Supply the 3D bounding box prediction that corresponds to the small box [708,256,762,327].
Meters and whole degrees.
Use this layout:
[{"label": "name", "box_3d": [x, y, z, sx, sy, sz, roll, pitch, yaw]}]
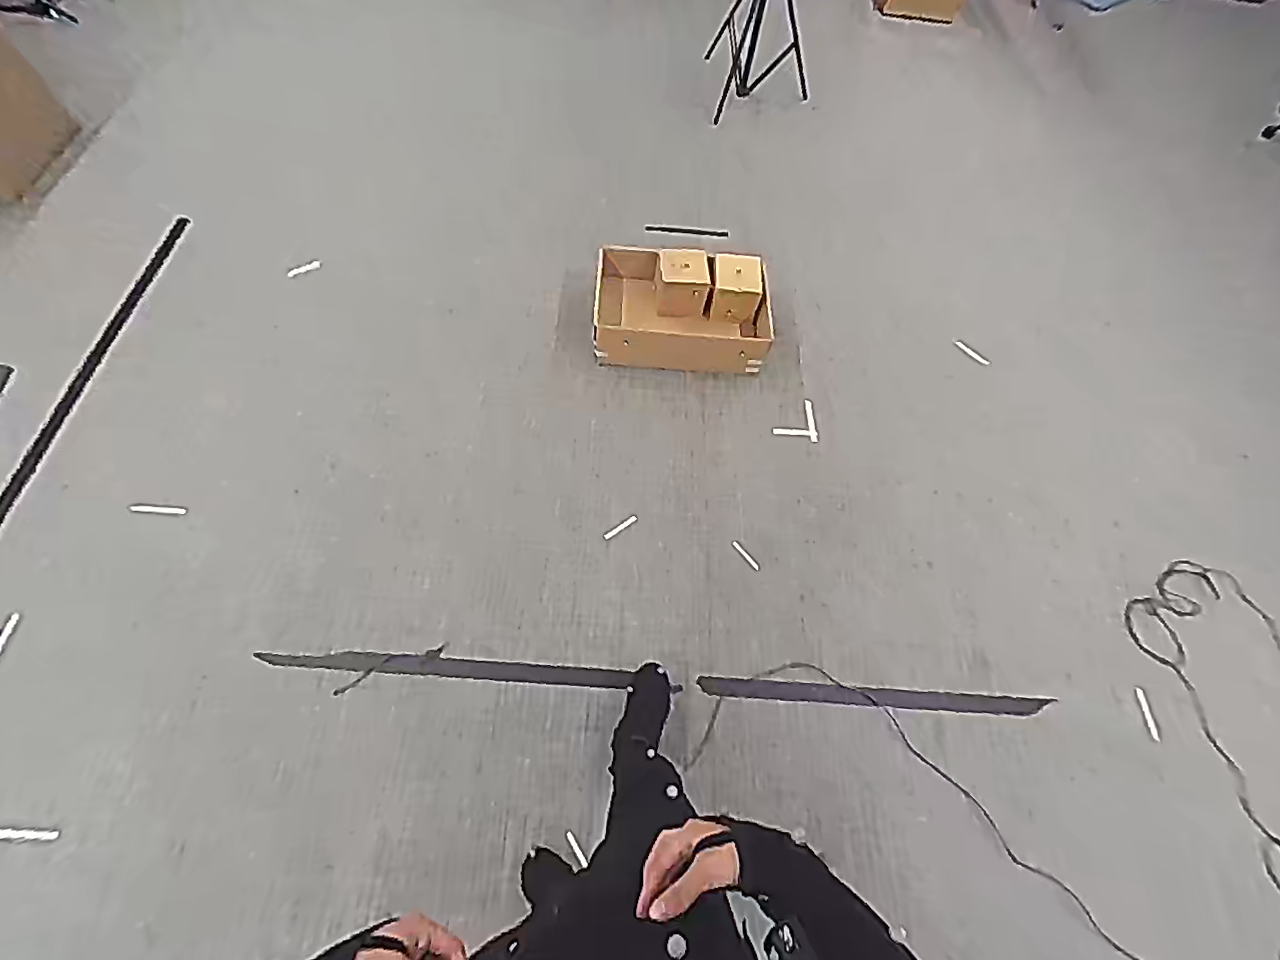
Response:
[{"label": "small box", "box_3d": [0.348, -0.699, 2.007, 0.168, 0.176, 0.179, 3, 66, -2]}]
